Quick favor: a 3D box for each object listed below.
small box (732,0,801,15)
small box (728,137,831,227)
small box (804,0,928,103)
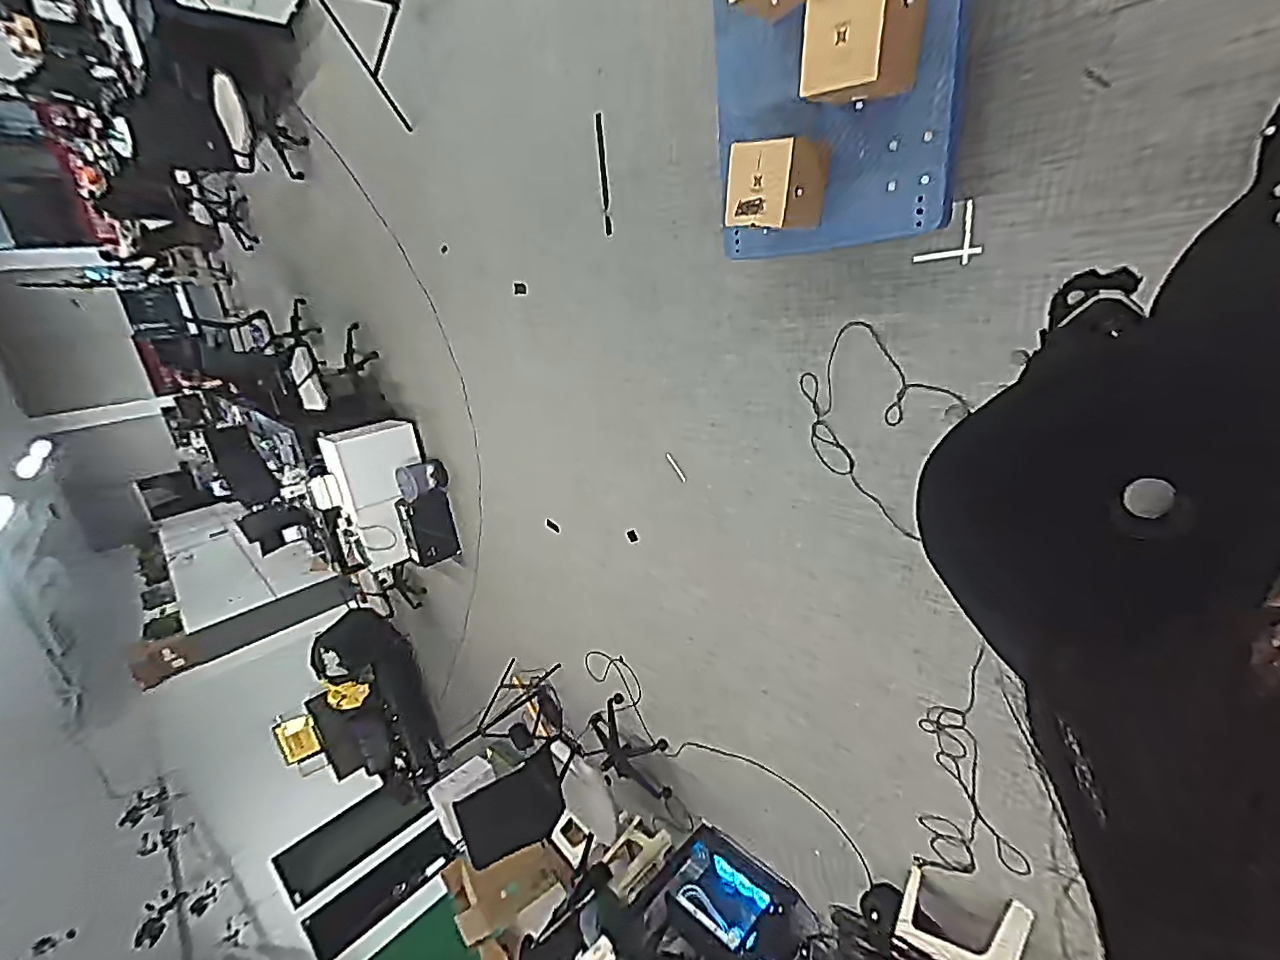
[{"bbox_3d":[0.301,-1.114,1.121,0.179,0.176,0.168,9,115,47],"label":"small box"},{"bbox_3d":[0.331,-0.700,1.283,0.168,0.176,0.179,25,124,39],"label":"small box"},{"bbox_3d":[0.448,-0.874,1.072,0.168,0.176,0.179,22,125,43],"label":"small box"}]
